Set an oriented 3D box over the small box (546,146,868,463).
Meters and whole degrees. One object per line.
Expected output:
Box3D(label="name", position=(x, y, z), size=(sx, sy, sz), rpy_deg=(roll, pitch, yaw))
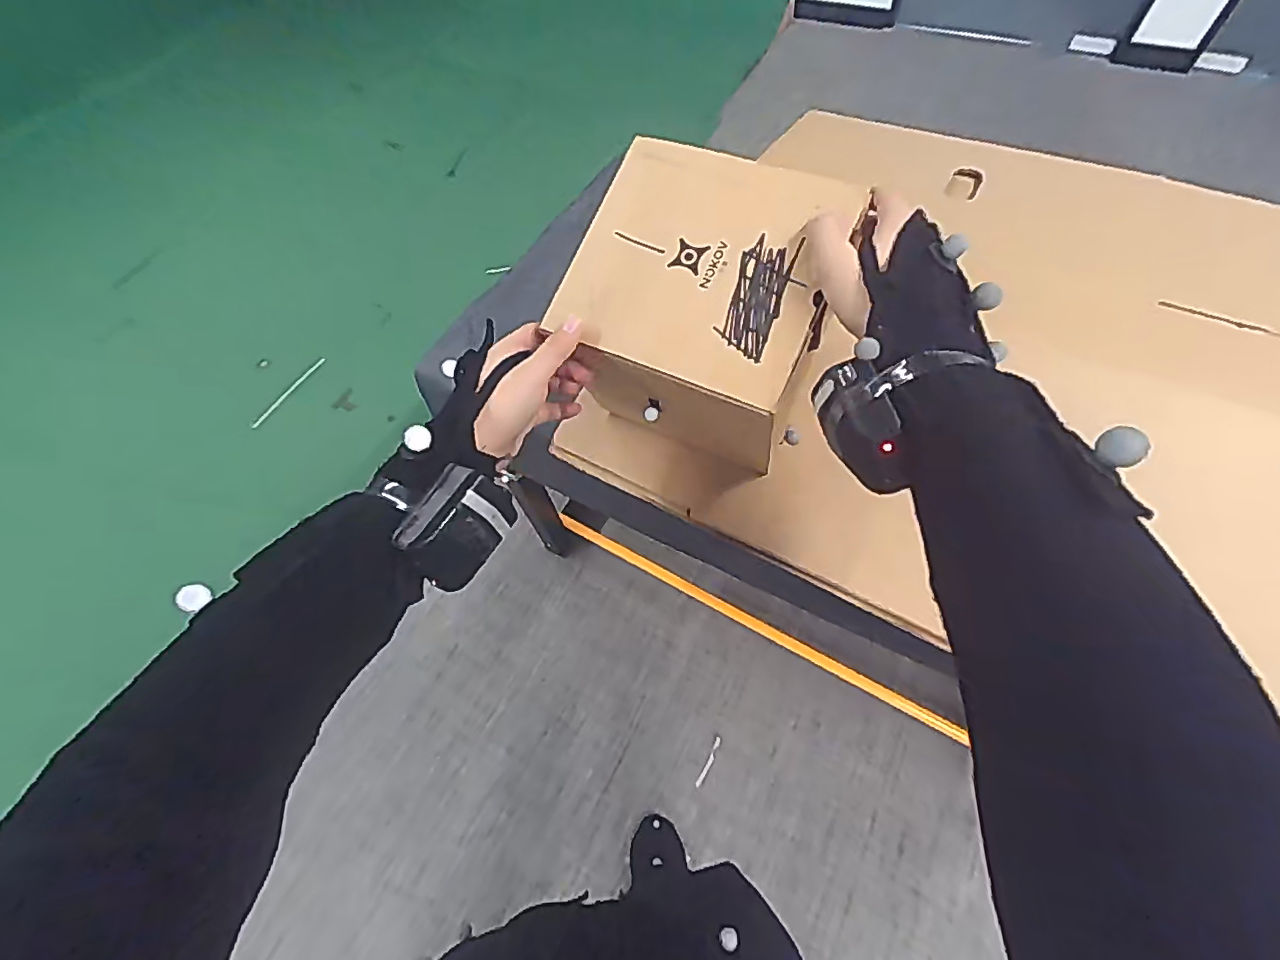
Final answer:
Box3D(label="small box", position=(0.058, -0.126, 0.446), size=(0.179, 0.176, 0.168), rpy_deg=(23, 83, 17))
